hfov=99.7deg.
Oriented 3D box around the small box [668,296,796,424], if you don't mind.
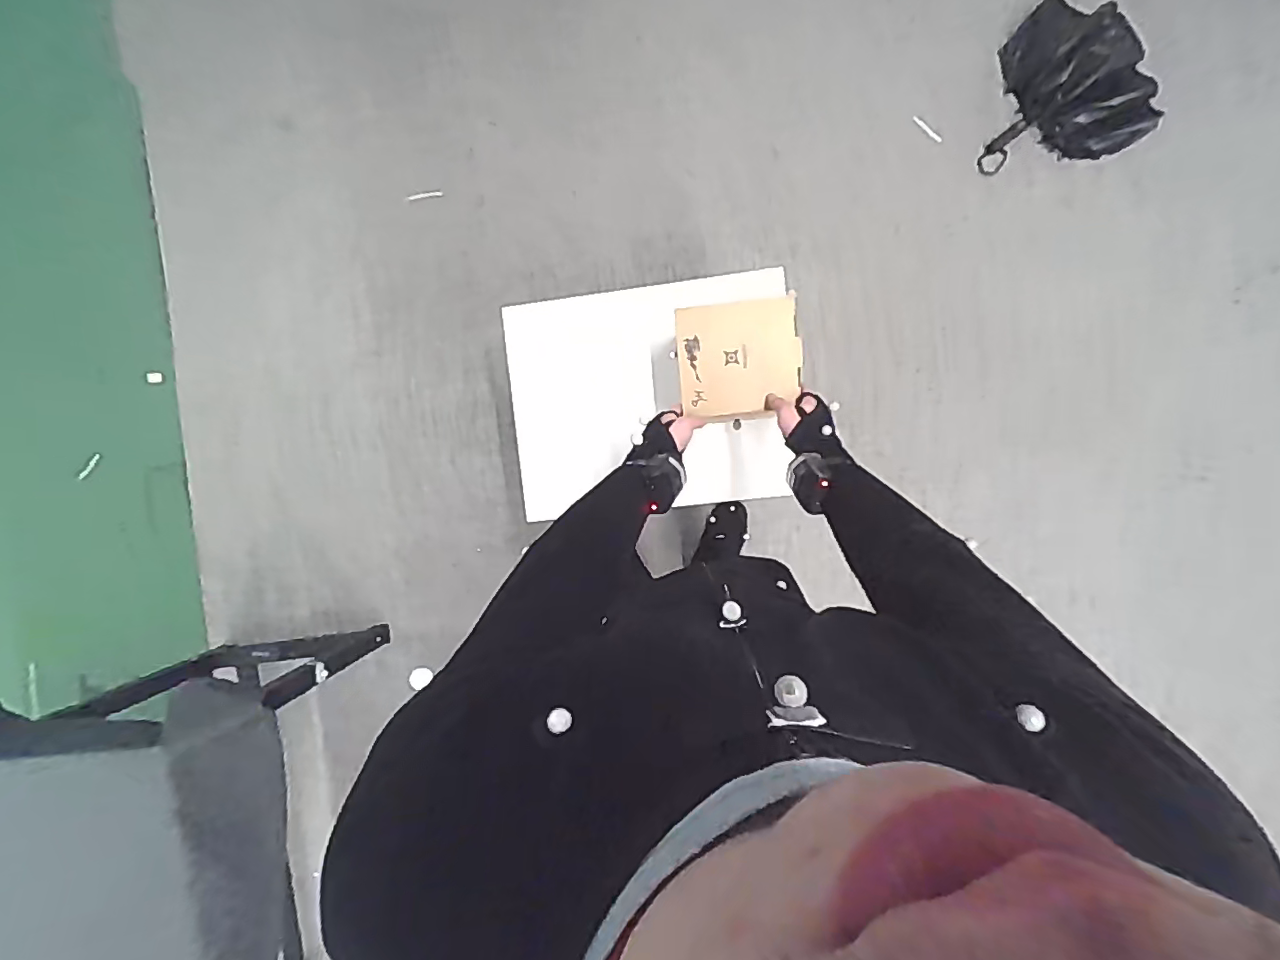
[{"bbox_3d":[0.136,-0.180,0.856,0.179,0.176,0.168,-4,92,3],"label":"small box"}]
